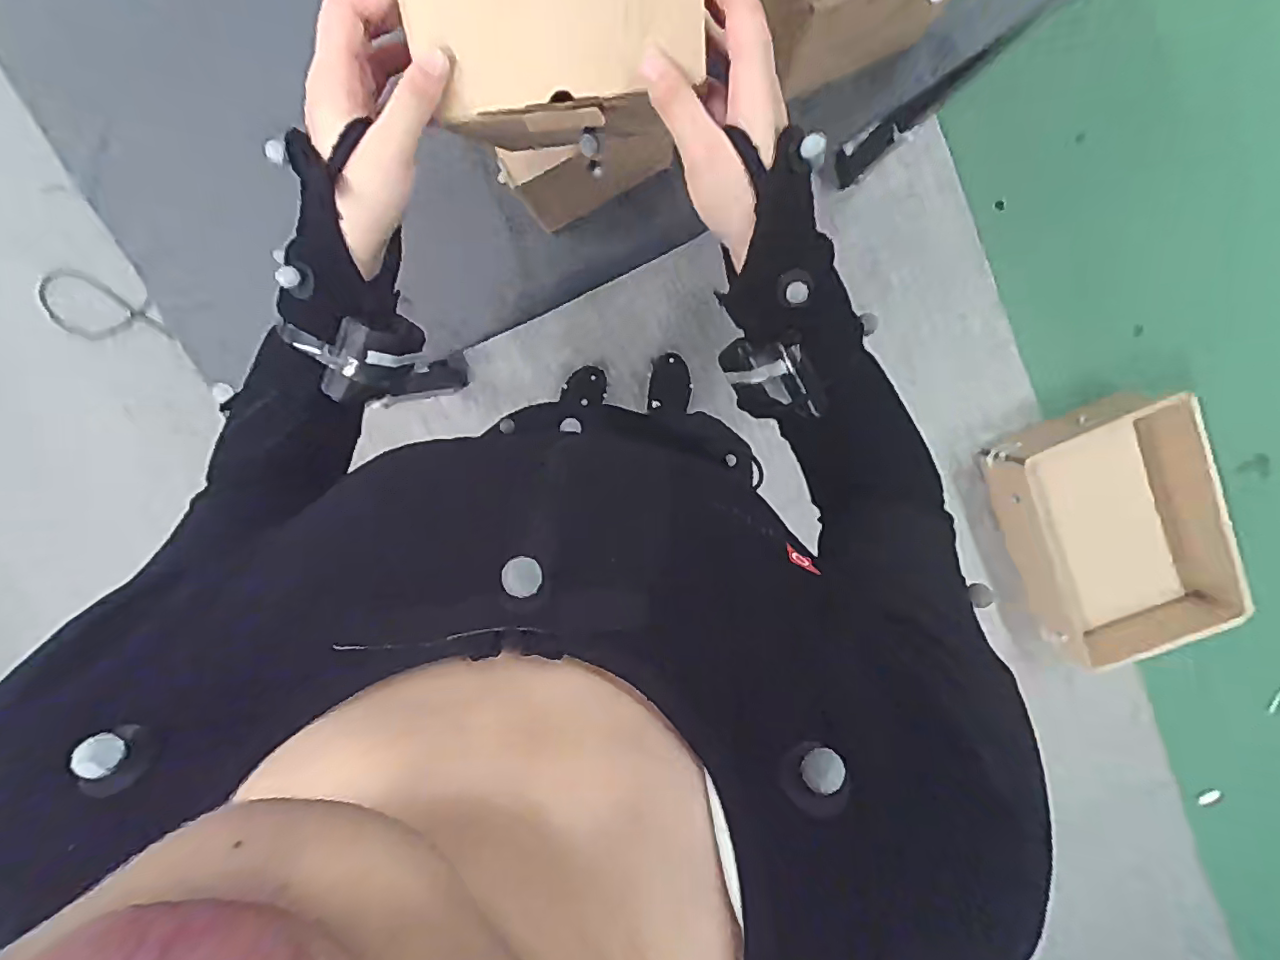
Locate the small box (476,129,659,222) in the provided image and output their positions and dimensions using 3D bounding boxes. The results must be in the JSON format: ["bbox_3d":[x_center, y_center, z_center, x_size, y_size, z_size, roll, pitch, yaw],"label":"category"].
[{"bbox_3d":[-0.087,-0.404,0.569,0.179,0.176,0.168,-27,100,6],"label":"small box"}]

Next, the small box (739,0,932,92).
[{"bbox_3d":[0.199,-0.534,0.529,0.179,0.176,0.168,-21,99,7],"label":"small box"}]

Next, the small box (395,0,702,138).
[{"bbox_3d":[-0.045,-0.321,0.335,0.168,0.176,0.179,-2,118,5],"label":"small box"}]
